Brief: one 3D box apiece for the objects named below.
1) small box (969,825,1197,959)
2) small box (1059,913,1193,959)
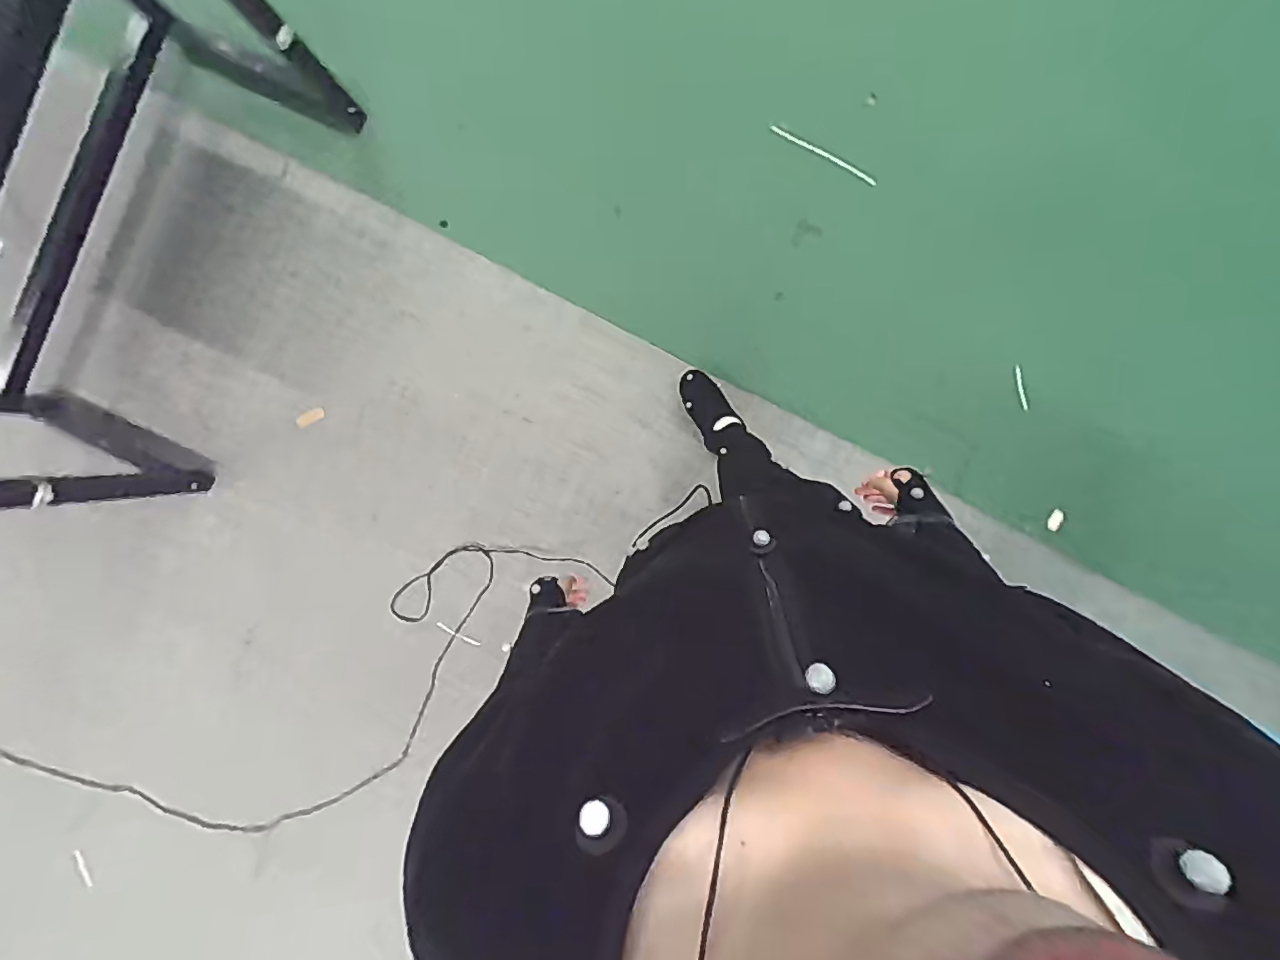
[{"bbox_3d":[0.657,0.678,0.829,0.179,0.176,0.168,29,93,0],"label":"small box"},{"bbox_3d":[0.650,0.694,0.667,0.179,0.176,0.168,27,93,-2],"label":"small box"}]
